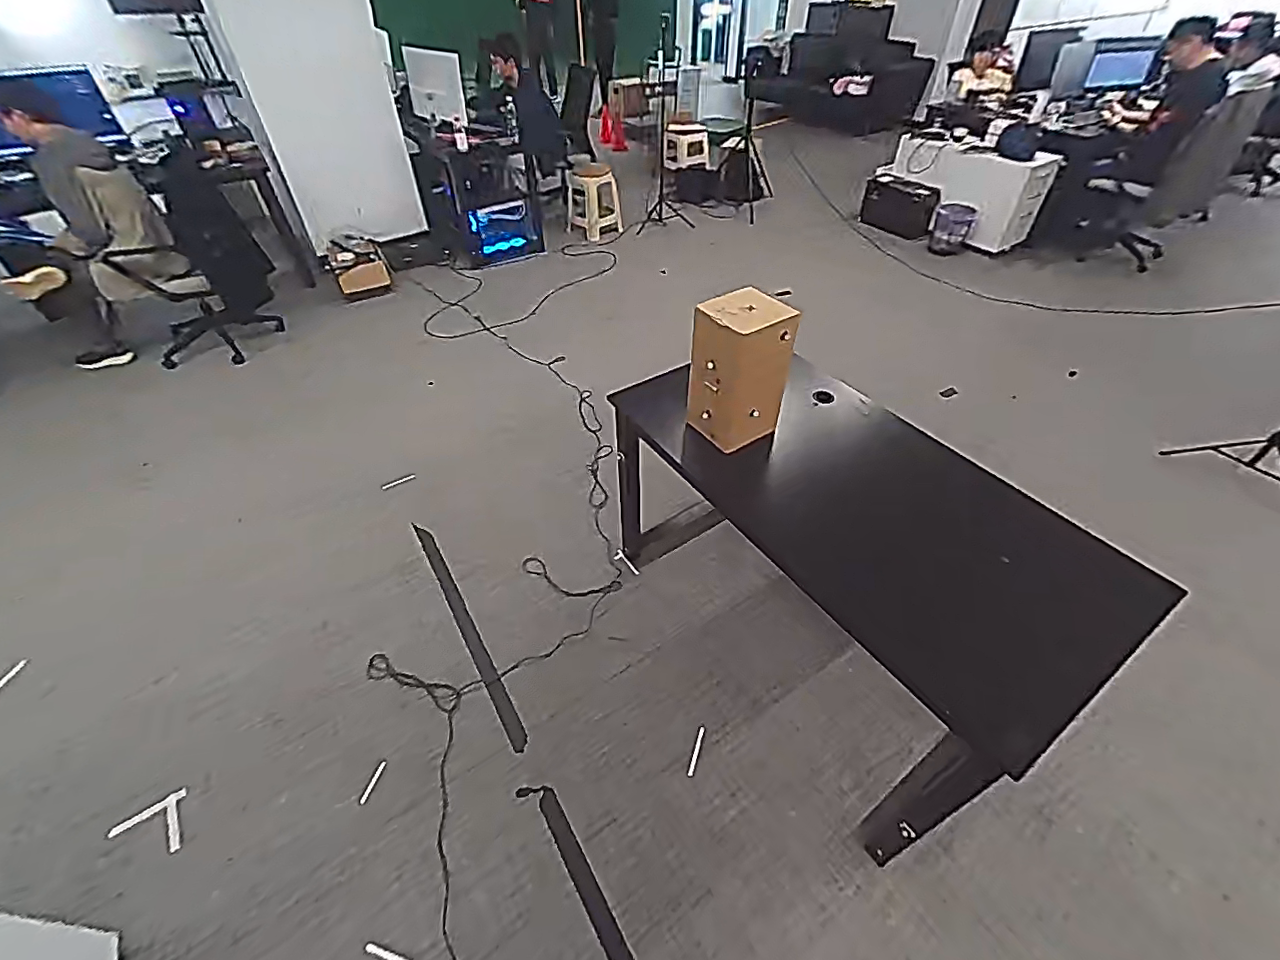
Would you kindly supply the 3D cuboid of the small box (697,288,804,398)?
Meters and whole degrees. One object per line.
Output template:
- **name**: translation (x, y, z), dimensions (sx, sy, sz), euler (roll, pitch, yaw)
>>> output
- **small box**: translation (0.247, -0.319, 1.259), dimensions (0.179, 0.176, 0.168), euler (-26, 49, -24)

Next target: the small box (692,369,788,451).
- **small box**: translation (0.247, -0.201, 1.374), dimensions (0.179, 0.176, 0.168), euler (-27, 50, -24)
